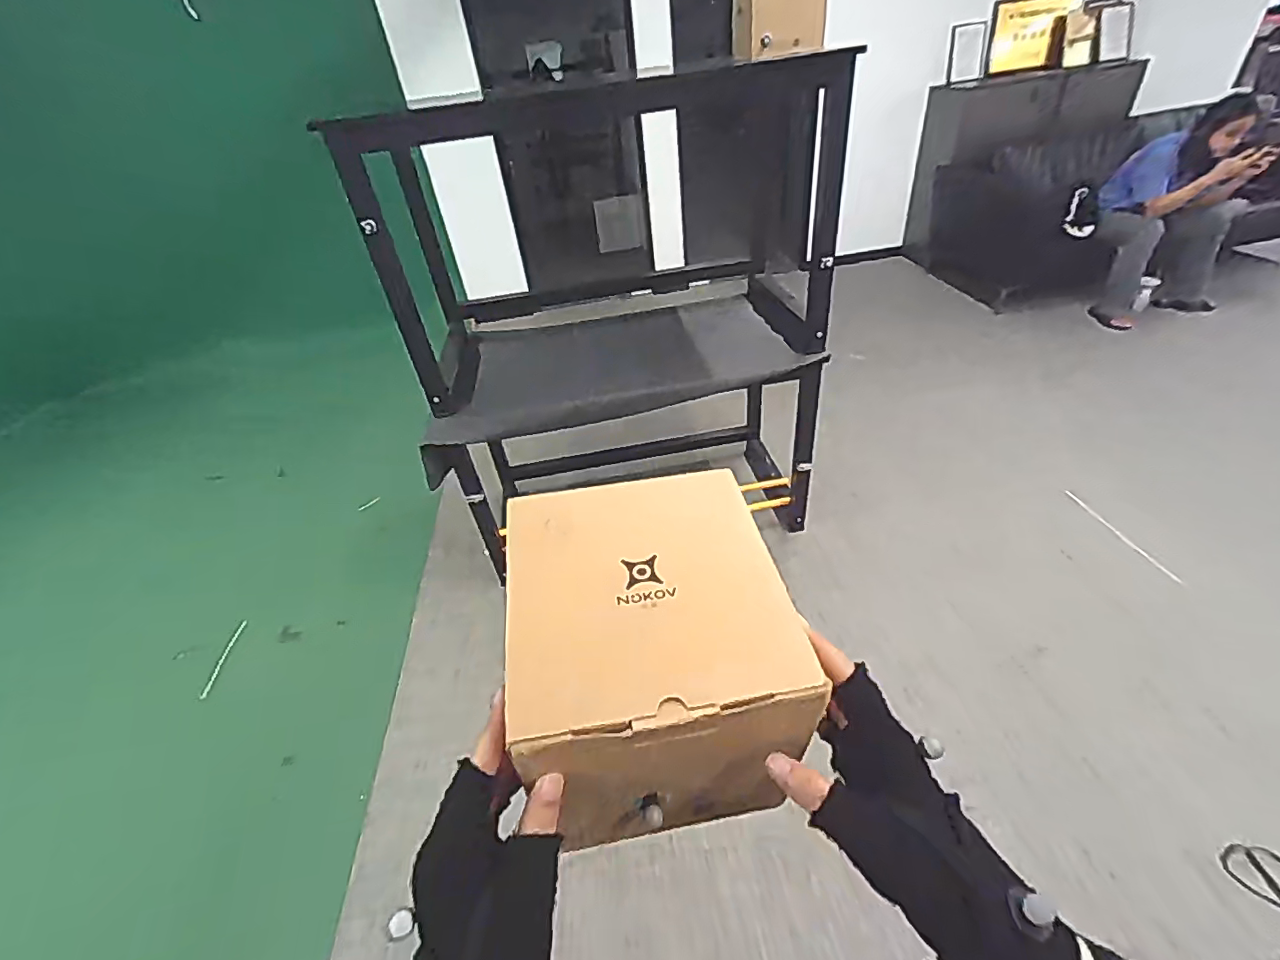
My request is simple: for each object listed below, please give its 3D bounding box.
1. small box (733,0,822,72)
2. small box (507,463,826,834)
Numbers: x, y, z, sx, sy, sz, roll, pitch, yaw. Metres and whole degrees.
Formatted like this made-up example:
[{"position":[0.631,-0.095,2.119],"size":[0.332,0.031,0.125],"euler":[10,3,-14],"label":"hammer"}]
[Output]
[{"position":[0.318,-1.068,1.258],"size":[0.168,0.176,0.179],"euler":[-8,37,0],"label":"small box"},{"position":[0.004,0.113,0.383],"size":[0.168,0.176,0.179],"euler":[-8,42,-7],"label":"small box"}]
